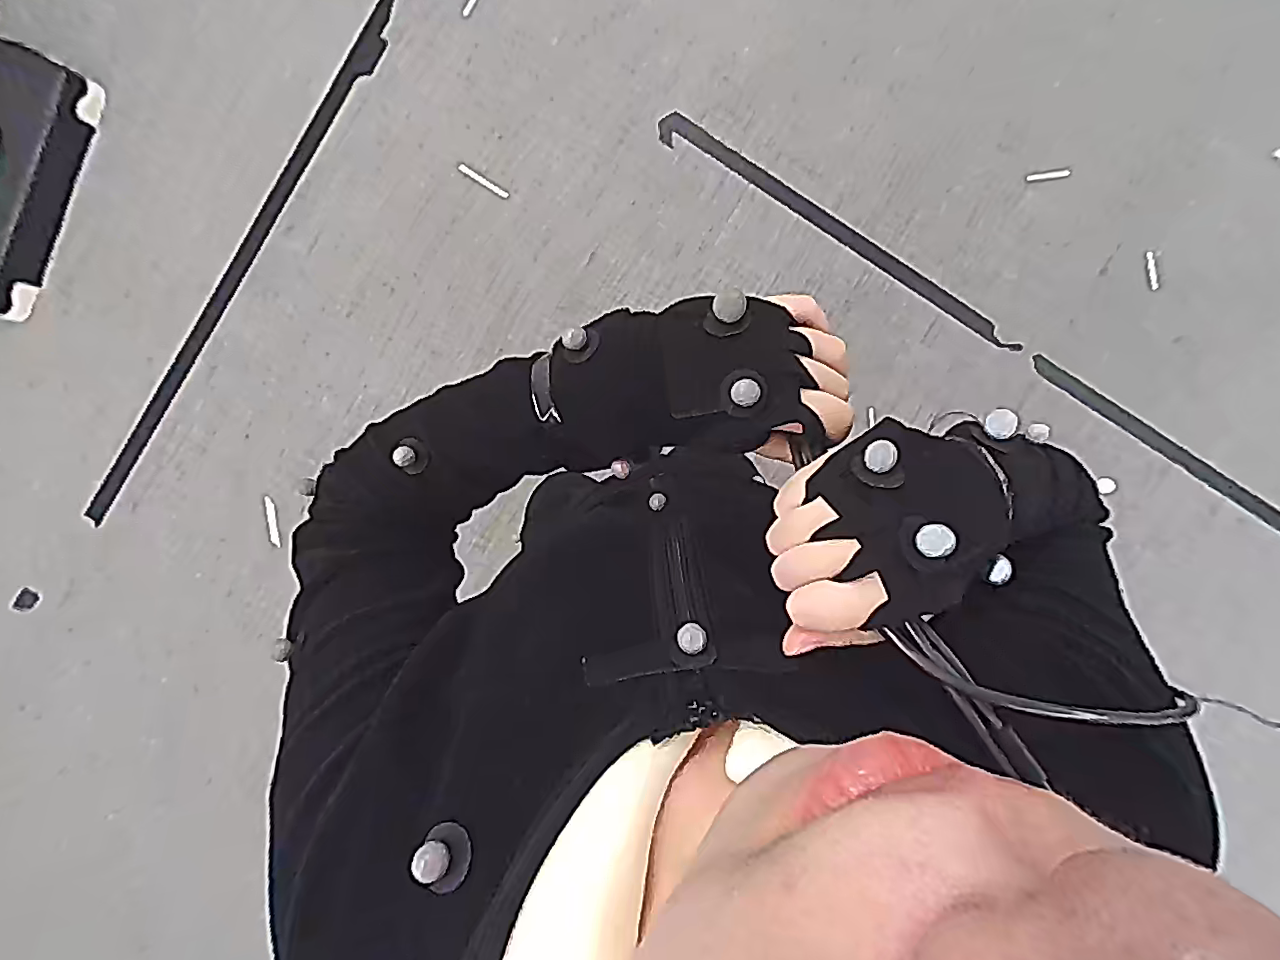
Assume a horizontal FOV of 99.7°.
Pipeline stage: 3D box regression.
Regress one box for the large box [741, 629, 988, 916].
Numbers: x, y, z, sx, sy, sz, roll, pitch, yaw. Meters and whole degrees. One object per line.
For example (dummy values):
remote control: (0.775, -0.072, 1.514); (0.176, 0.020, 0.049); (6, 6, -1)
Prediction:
large box: (0.463, 0.608, 1.197); (0.320, 0.320, 0.408); (-22, 93, 0)
